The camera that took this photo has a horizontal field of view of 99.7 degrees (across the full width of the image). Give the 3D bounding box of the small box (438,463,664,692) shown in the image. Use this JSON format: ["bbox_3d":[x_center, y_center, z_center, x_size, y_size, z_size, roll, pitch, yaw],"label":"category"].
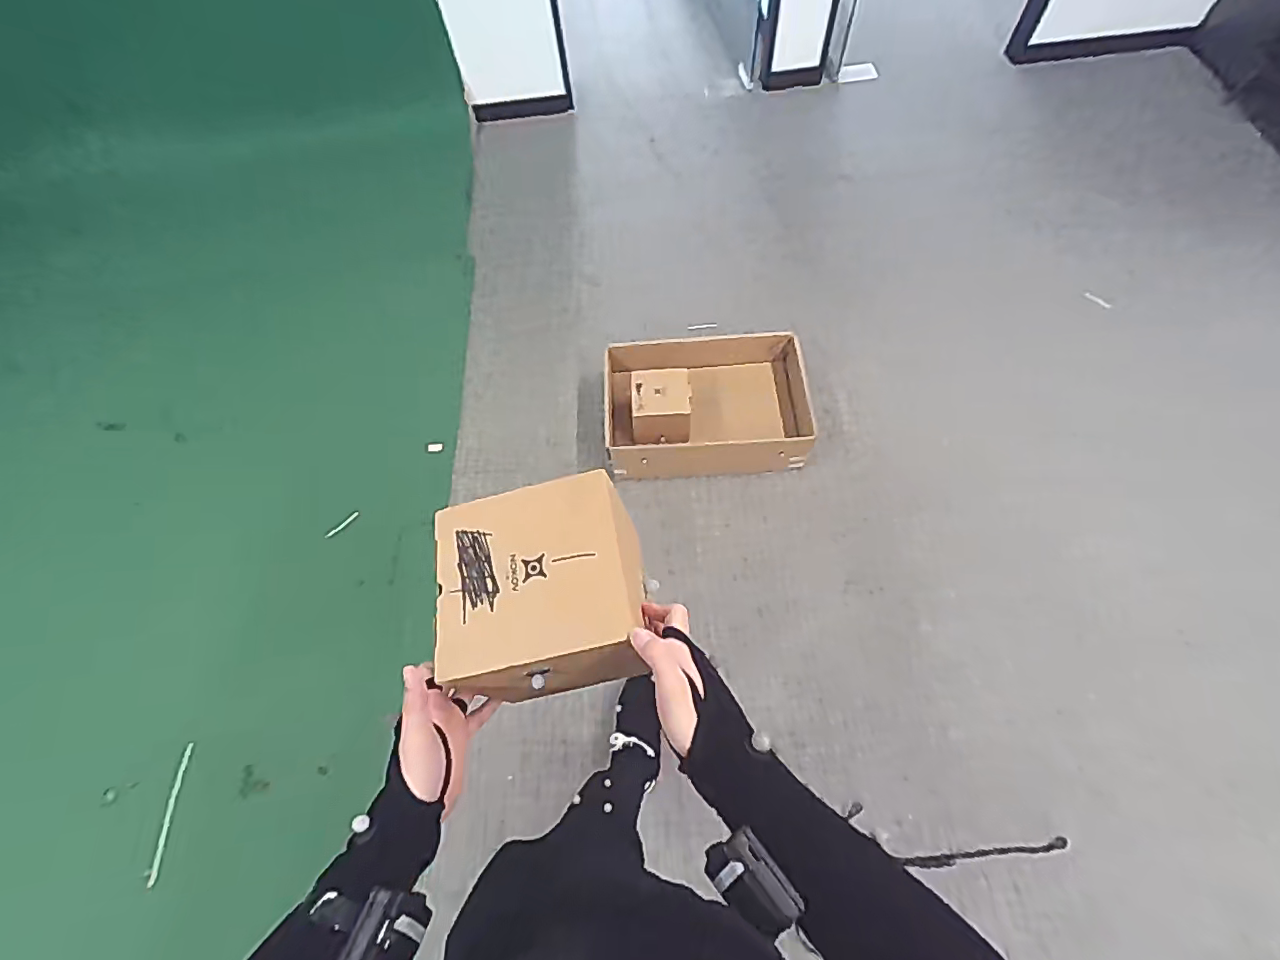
[{"bbox_3d":[-0.084,0.110,0.553,0.179,0.176,0.168,-14,61,4],"label":"small box"}]

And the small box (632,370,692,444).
[{"bbox_3d":[0.064,-0.224,1.679,0.179,0.176,0.168,-2,62,1],"label":"small box"}]
